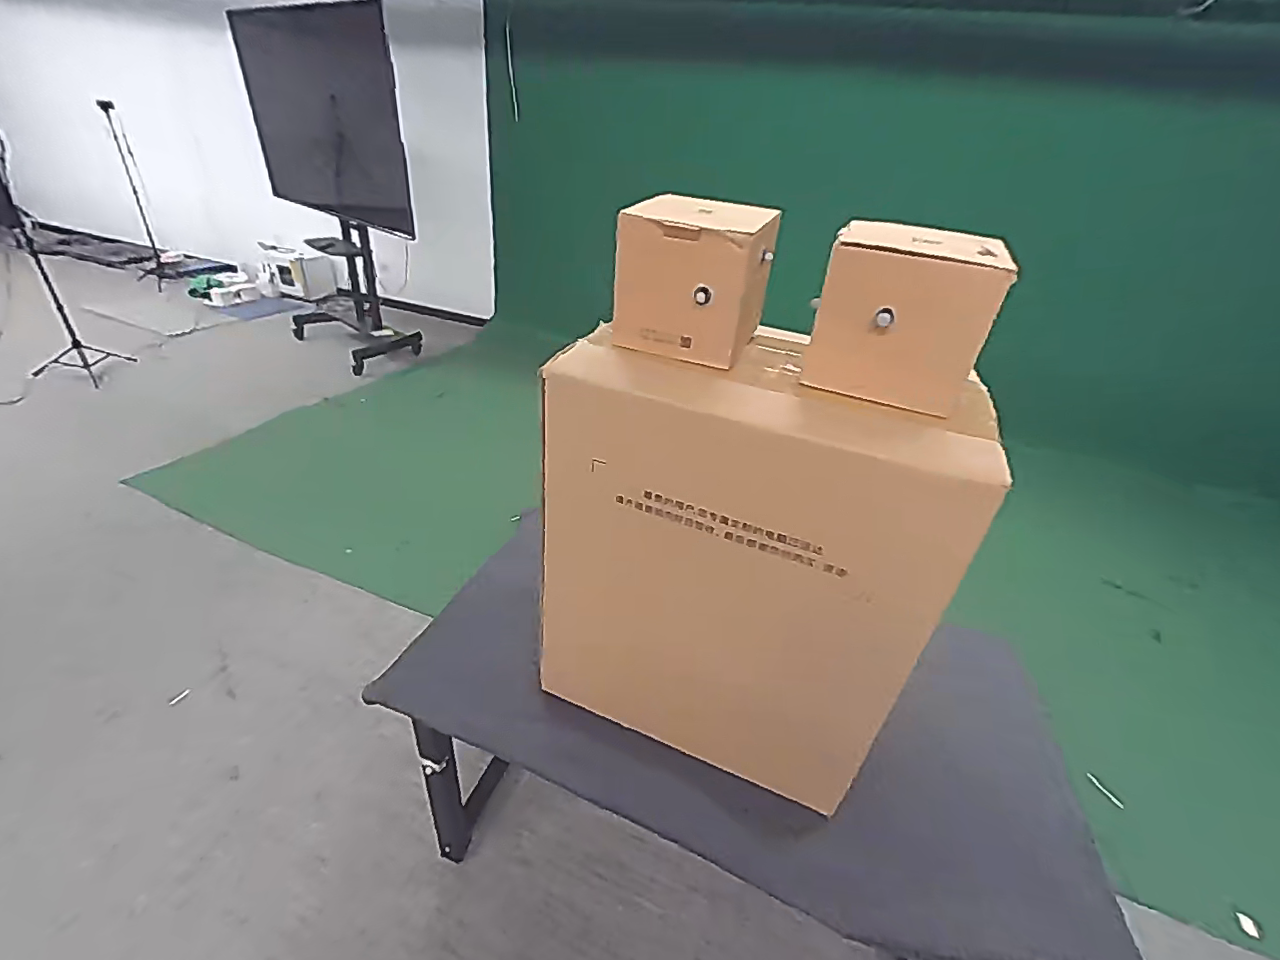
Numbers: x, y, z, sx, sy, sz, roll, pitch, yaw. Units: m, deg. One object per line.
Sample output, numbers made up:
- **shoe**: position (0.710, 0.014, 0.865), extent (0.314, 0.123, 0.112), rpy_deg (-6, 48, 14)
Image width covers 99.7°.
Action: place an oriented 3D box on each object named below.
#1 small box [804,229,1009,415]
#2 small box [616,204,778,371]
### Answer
- **small box**: position (0.311, -0.196, 0.659), extent (0.179, 0.176, 0.168), rpy_deg (16, 37, 18)
- **small box**: position (0.075, -0.263, 0.733), extent (0.168, 0.176, 0.179), rpy_deg (17, 36, 15)
